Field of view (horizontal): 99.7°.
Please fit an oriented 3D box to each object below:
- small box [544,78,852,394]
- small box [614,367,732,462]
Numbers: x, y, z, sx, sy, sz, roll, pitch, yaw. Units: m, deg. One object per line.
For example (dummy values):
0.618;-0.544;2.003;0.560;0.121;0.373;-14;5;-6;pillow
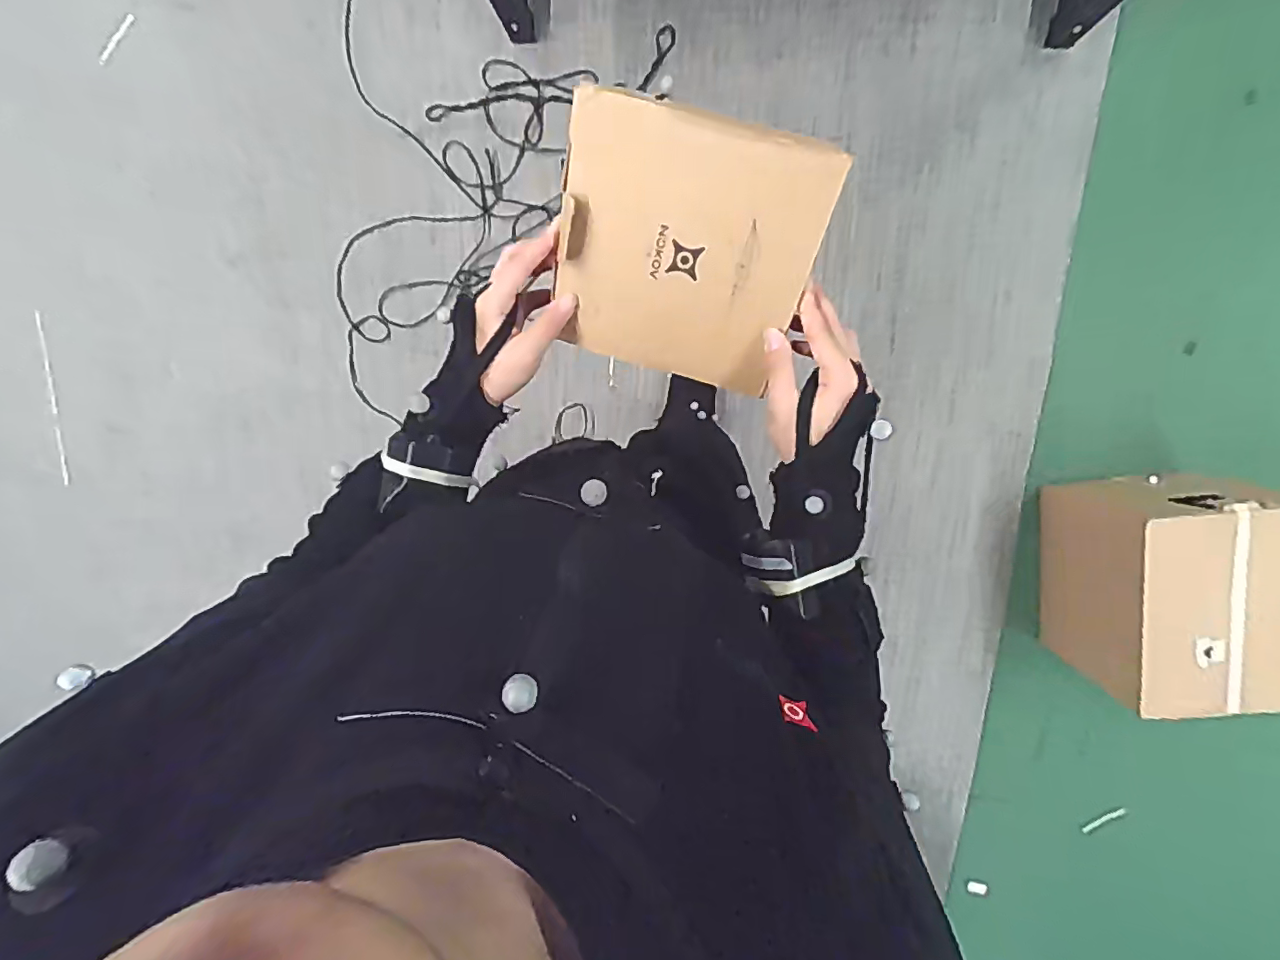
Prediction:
0.040;-0.195;0.430;0.179;0.176;0.168;15;126;1;small box
0.076;-0.160;1.197;0.176;0.168;0.179;-29;114;37;small box
